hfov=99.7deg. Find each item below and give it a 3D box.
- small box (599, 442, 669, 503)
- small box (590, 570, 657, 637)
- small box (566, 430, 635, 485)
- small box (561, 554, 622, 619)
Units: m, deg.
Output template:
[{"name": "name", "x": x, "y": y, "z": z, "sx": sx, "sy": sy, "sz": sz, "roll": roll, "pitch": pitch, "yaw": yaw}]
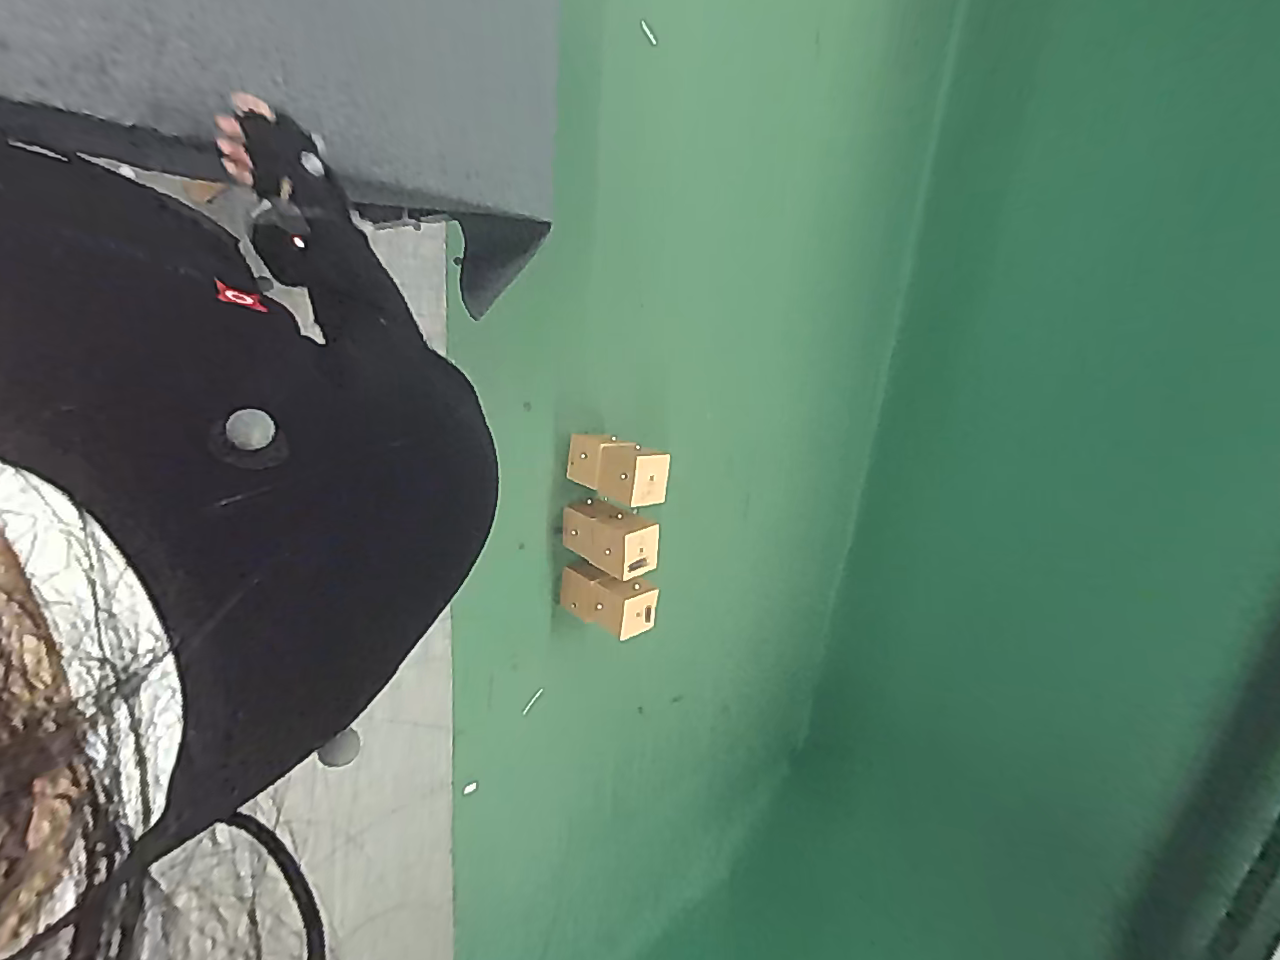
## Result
[{"name": "small box", "x": -0.024, "y": -0.032, "z": 1.855, "sx": 0.168, "sy": 0.176, "sz": 0.179, "roll": -6, "pitch": 109, "yaw": -45}, {"name": "small box", "x": -0.063, "y": 0.451, "z": 2.011, "sx": 0.179, "sy": 0.176, "sz": 0.168, "roll": -9, "pitch": 112, "yaw": -45}, {"name": "small box", "x": -0.146, "y": -0.083, "z": 1.955, "sx": 0.179, "sy": 0.176, "sz": 0.168, "roll": -5, "pitch": 108, "yaw": -46}, {"name": "small box", "x": -0.192, "y": 0.409, "z": 2.101, "sx": 0.168, "sy": 0.176, "sz": 0.179, "roll": -7, "pitch": 111, "yaw": -45}]
